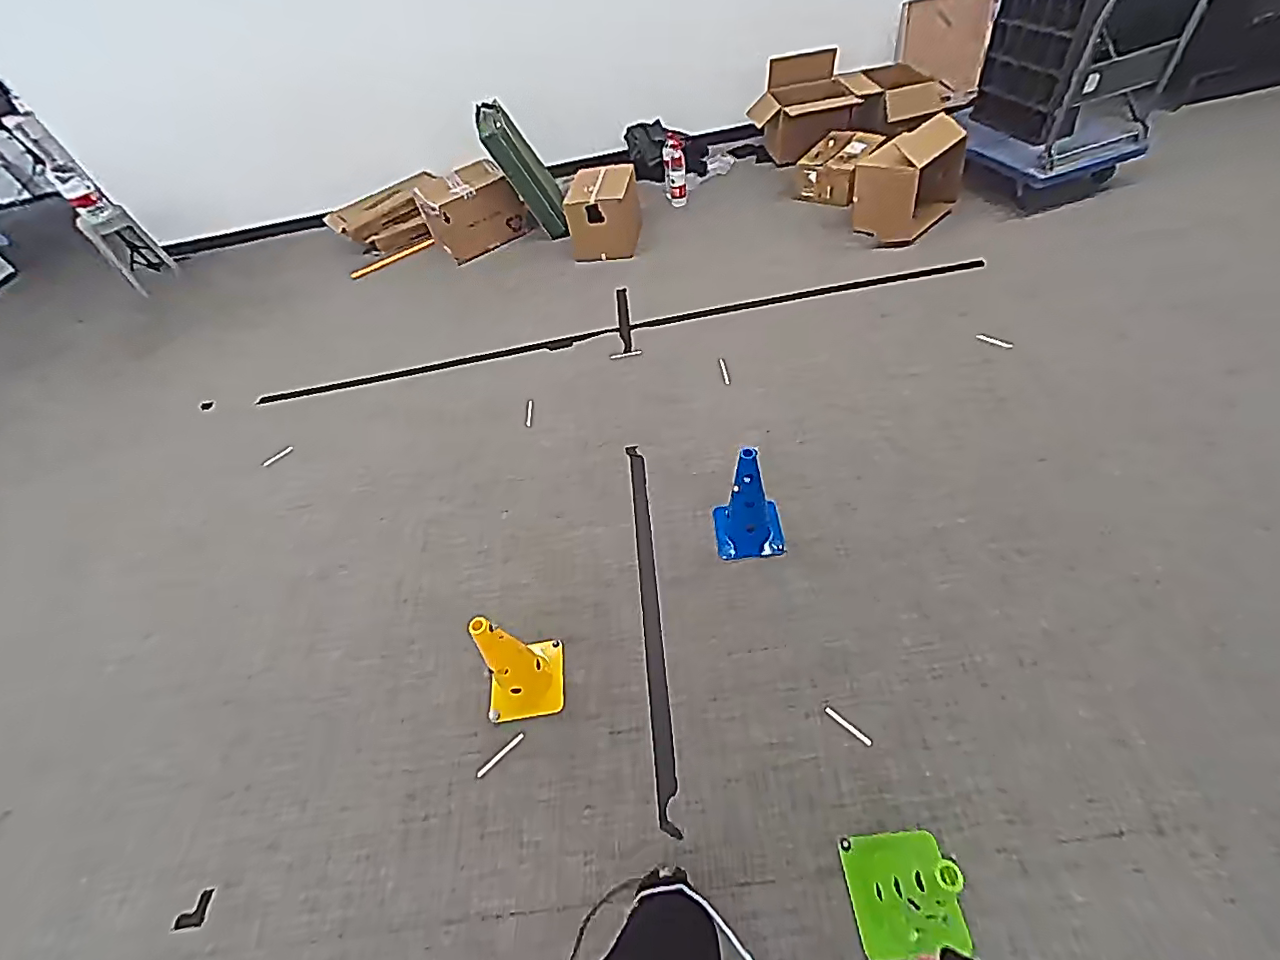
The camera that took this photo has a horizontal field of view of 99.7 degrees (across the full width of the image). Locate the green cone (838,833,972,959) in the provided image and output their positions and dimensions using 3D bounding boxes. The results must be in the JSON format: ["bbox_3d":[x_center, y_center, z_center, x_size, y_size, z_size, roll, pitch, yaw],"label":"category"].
[{"bbox_3d":[0.491,0.712,0.938,0.202,0.368,0.200,-8,49,3],"label":"green cone"}]

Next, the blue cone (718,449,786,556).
[{"bbox_3d":[0.320,0.050,1.552,0.192,0.380,0.193,-5,50,6],"label":"blue cone"}]
